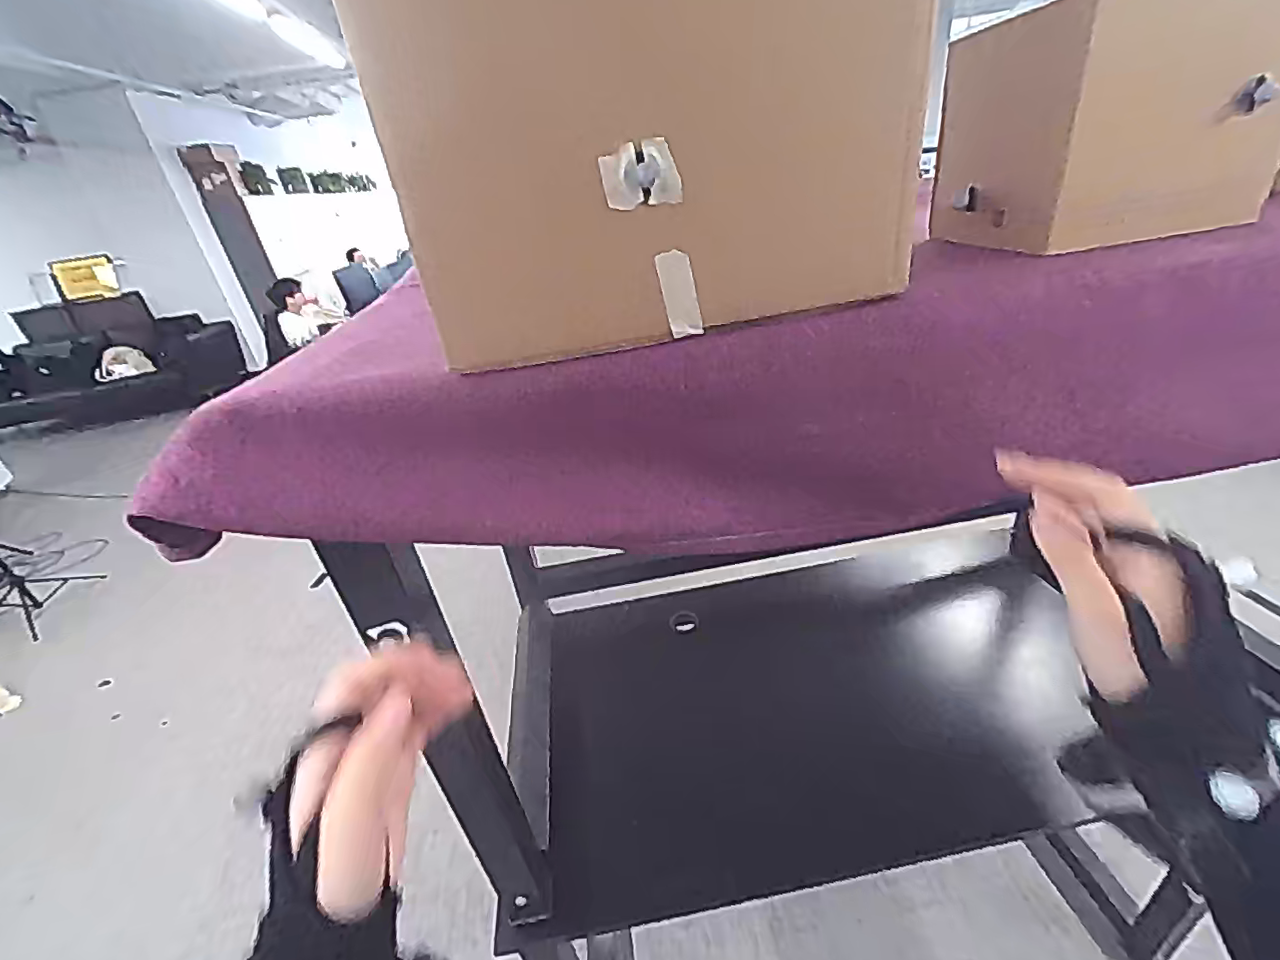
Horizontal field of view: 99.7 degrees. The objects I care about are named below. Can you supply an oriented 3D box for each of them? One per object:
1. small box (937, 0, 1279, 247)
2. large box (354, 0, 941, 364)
[{"bbox_3d":[0.379,-0.302,0.448,0.179,0.176,0.168,-10,28,-1],"label":"small box"},{"bbox_3d":[-0.020,-0.314,0.445,0.320,0.320,0.408,-11,28,-6],"label":"large box"}]
